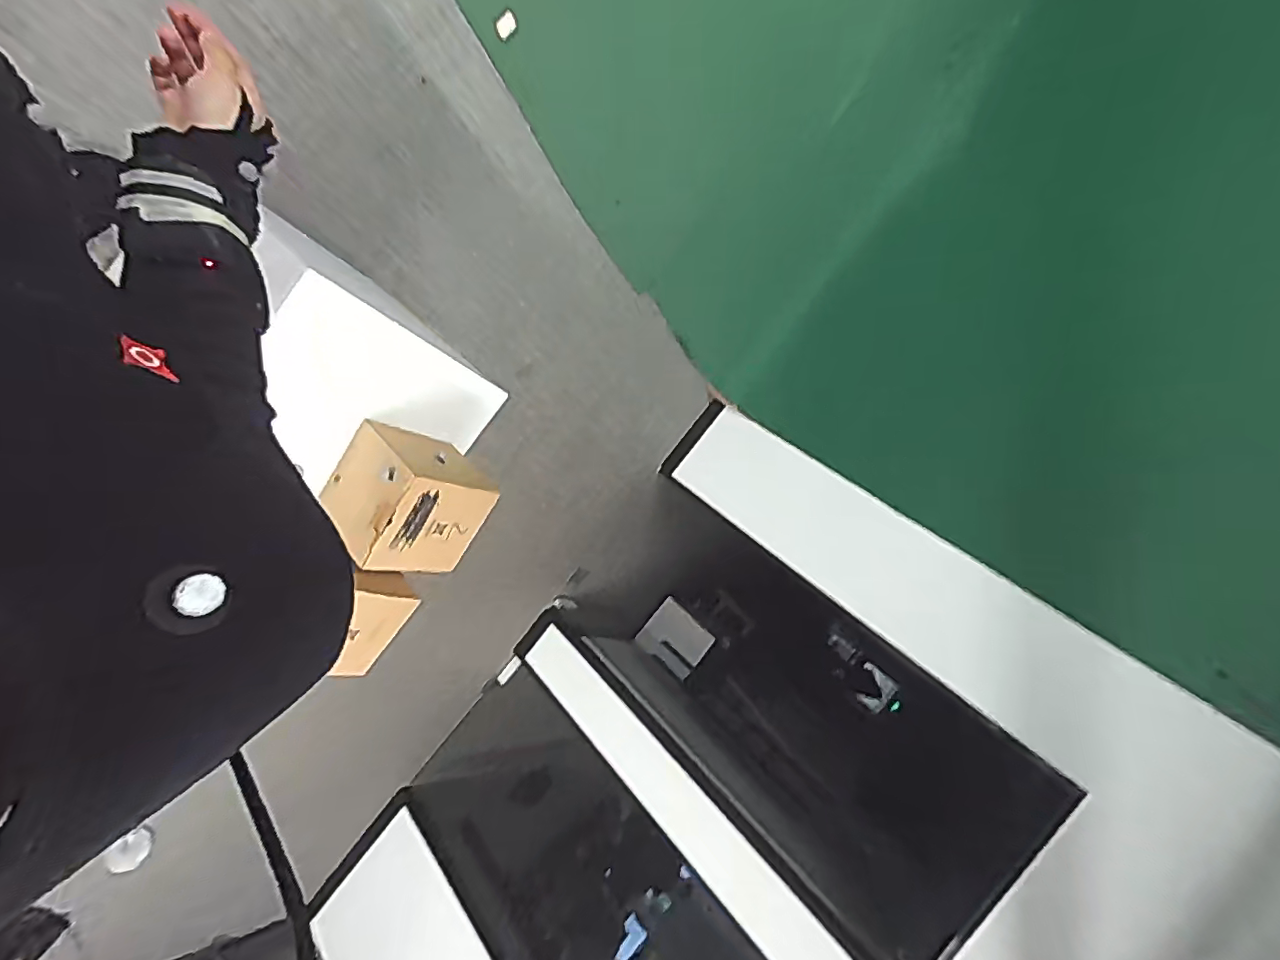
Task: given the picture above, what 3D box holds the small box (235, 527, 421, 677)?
[{"bbox_3d":[-0.507,0.197,0.880,0.168,0.176,0.179,-51,151,2],"label":"small box"}]
